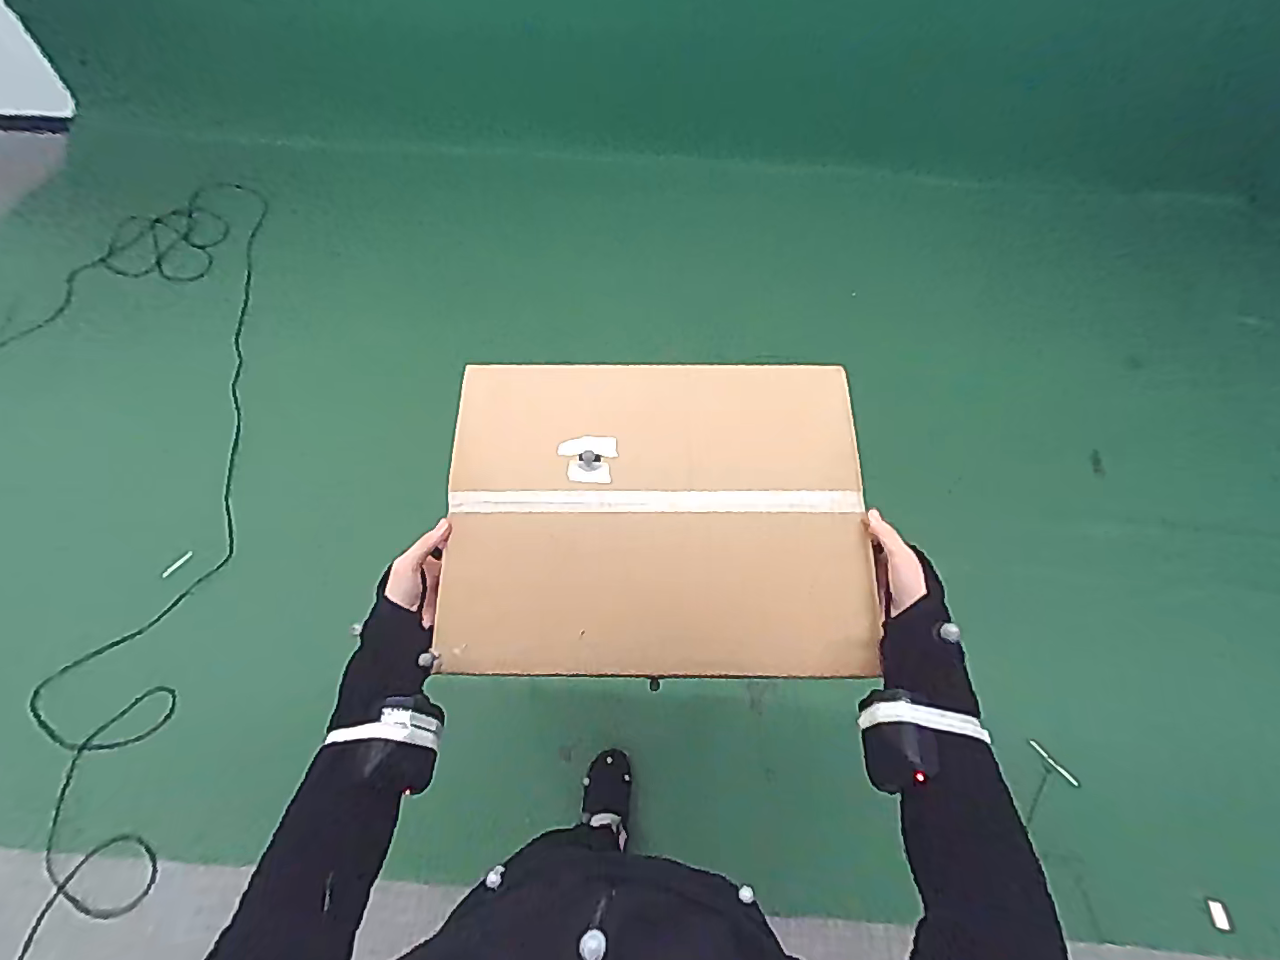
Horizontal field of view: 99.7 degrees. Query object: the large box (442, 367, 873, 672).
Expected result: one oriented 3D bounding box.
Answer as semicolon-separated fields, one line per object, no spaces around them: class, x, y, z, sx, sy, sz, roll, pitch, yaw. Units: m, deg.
large box;0.019;0.073;0.681;0.408;0.320;0.320;0;70;2
